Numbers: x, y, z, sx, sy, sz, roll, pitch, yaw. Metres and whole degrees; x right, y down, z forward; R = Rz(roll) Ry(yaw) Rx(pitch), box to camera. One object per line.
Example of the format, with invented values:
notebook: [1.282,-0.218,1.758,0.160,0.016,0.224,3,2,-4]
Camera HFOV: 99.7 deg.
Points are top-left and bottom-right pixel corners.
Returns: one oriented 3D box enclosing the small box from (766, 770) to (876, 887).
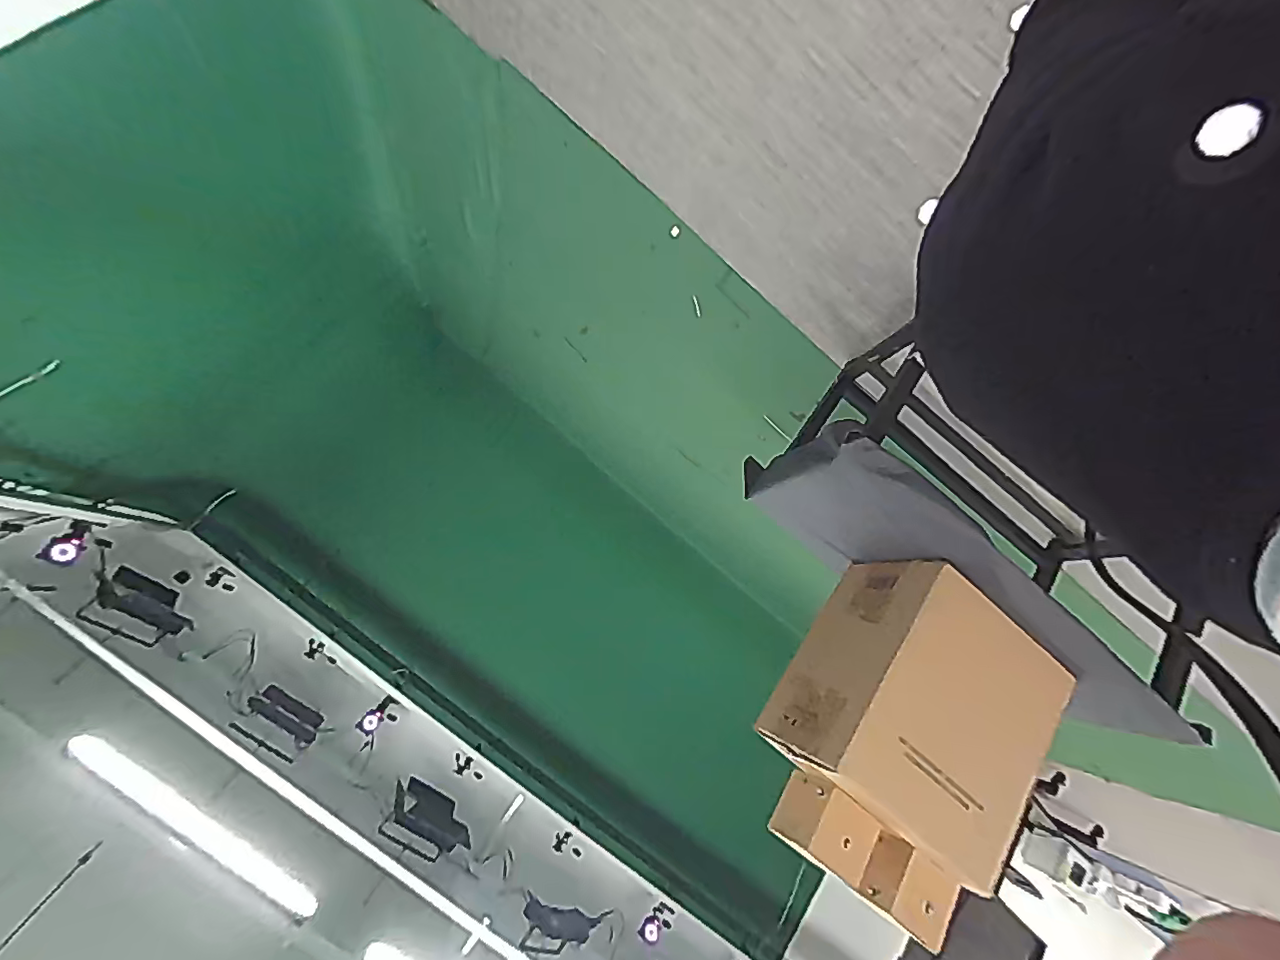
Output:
small box: [0.469,0.889,1.399,0.179,0.176,0.168,40,156,-8]

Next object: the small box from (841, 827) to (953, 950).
small box: [0.671,1.049,1.408,0.179,0.176,0.168,41,157,-7]
